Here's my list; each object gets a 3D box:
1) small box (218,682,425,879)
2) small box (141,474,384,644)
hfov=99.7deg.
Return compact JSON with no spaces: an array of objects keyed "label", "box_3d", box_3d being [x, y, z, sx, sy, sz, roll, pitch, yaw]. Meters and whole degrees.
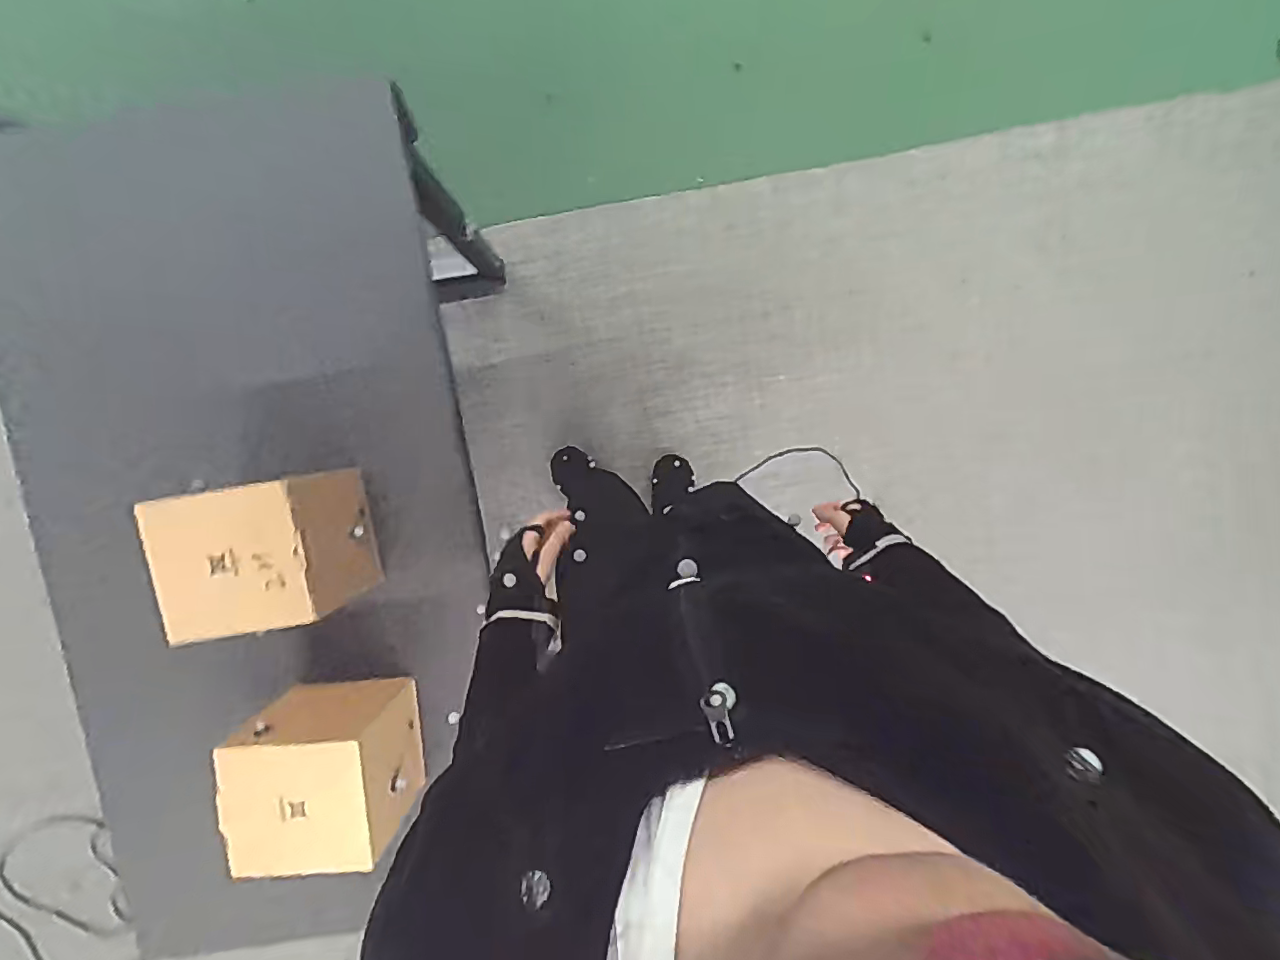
[{"label":"small box","box_3d":[-0.403,0.384,0.720,0.179,0.176,0.168,-4,95,1]},{"label":"small box","box_3d":[-0.464,0.090,0.693,0.179,0.176,0.168,-10,96,1]}]
